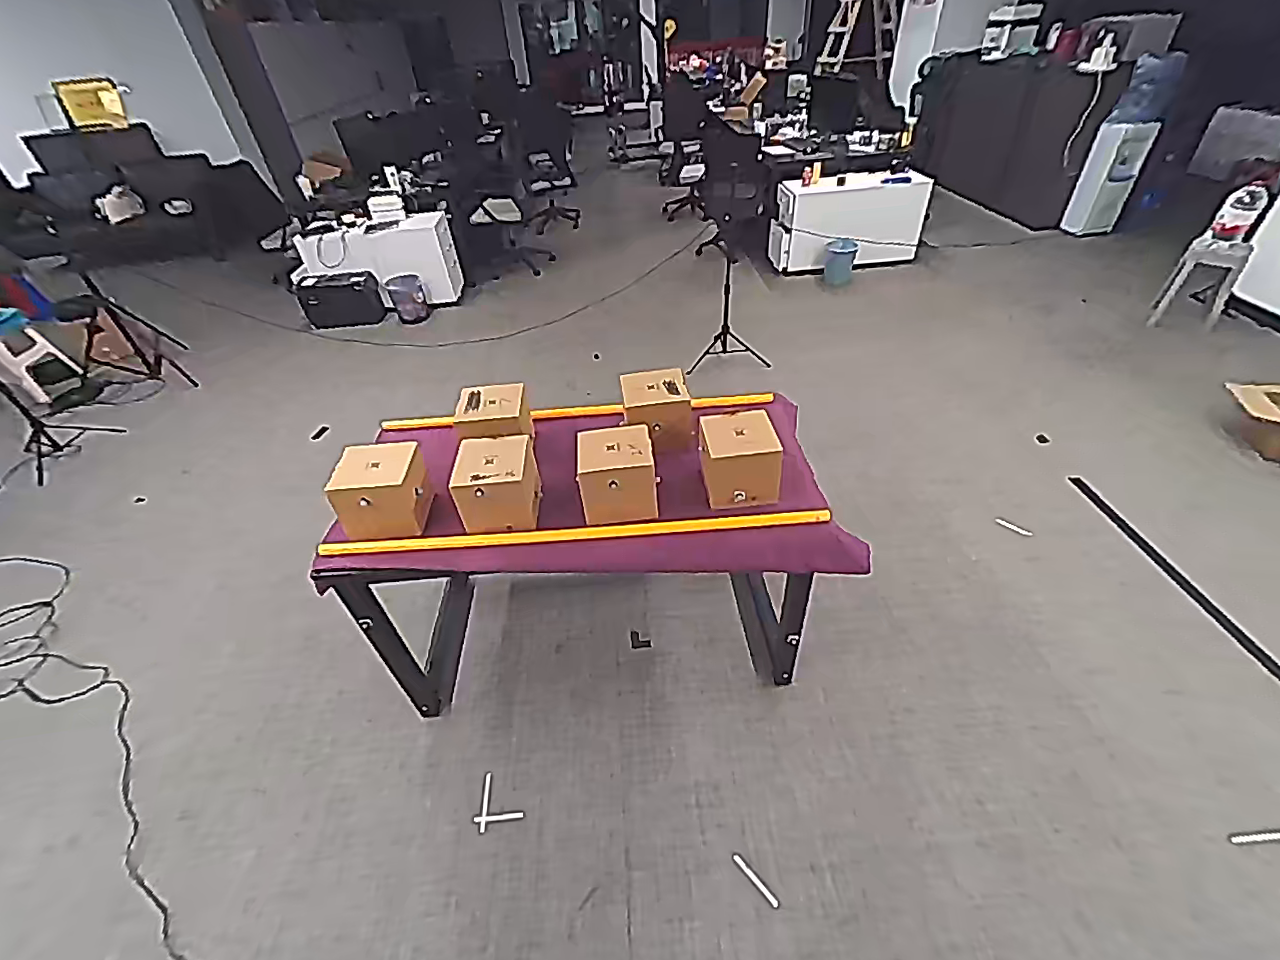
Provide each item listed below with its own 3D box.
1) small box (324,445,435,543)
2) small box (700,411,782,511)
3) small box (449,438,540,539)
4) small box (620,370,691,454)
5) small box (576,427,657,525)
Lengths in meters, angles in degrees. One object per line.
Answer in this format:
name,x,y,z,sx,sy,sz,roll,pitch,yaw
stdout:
small box,-0.621,0.036,1.318,0.179,0.176,0.168,-6,40,-1
small box,0.239,-0.048,1.320,0.168,0.176,0.179,-7,38,0
small box,-0.341,0.019,1.309,0.168,0.176,0.179,-6,40,0
small box,0.042,-0.184,1.503,0.179,0.176,0.168,-8,42,-1
small box,-0.056,-0.007,1.307,0.179,0.176,0.168,-6,39,-2
